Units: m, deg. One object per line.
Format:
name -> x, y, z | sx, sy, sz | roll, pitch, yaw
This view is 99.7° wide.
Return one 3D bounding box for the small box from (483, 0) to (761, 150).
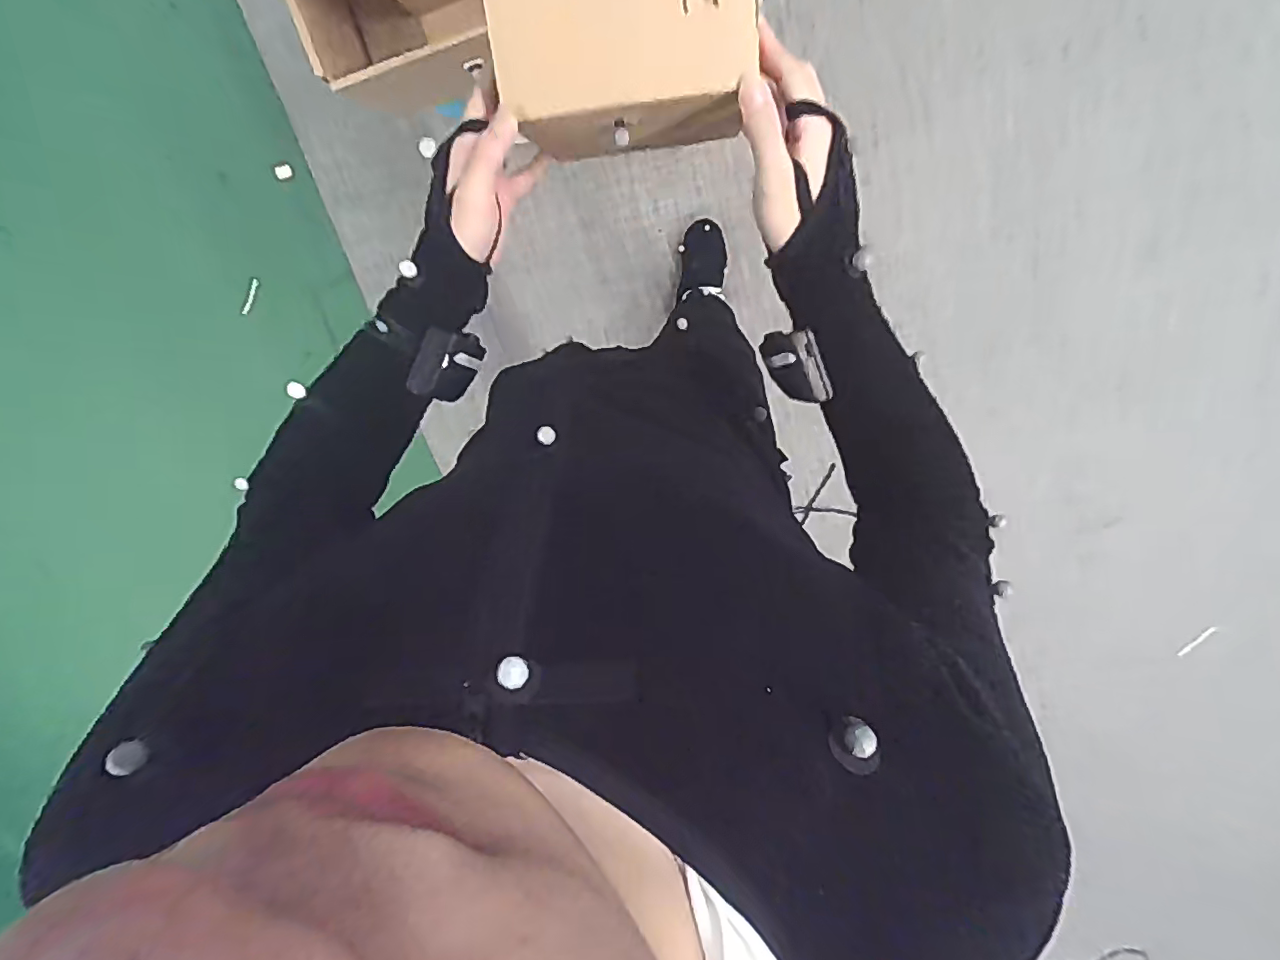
small box -> -0.008, -0.359, 0.398 | 0.179, 0.176, 0.168 | -4, 112, 7
